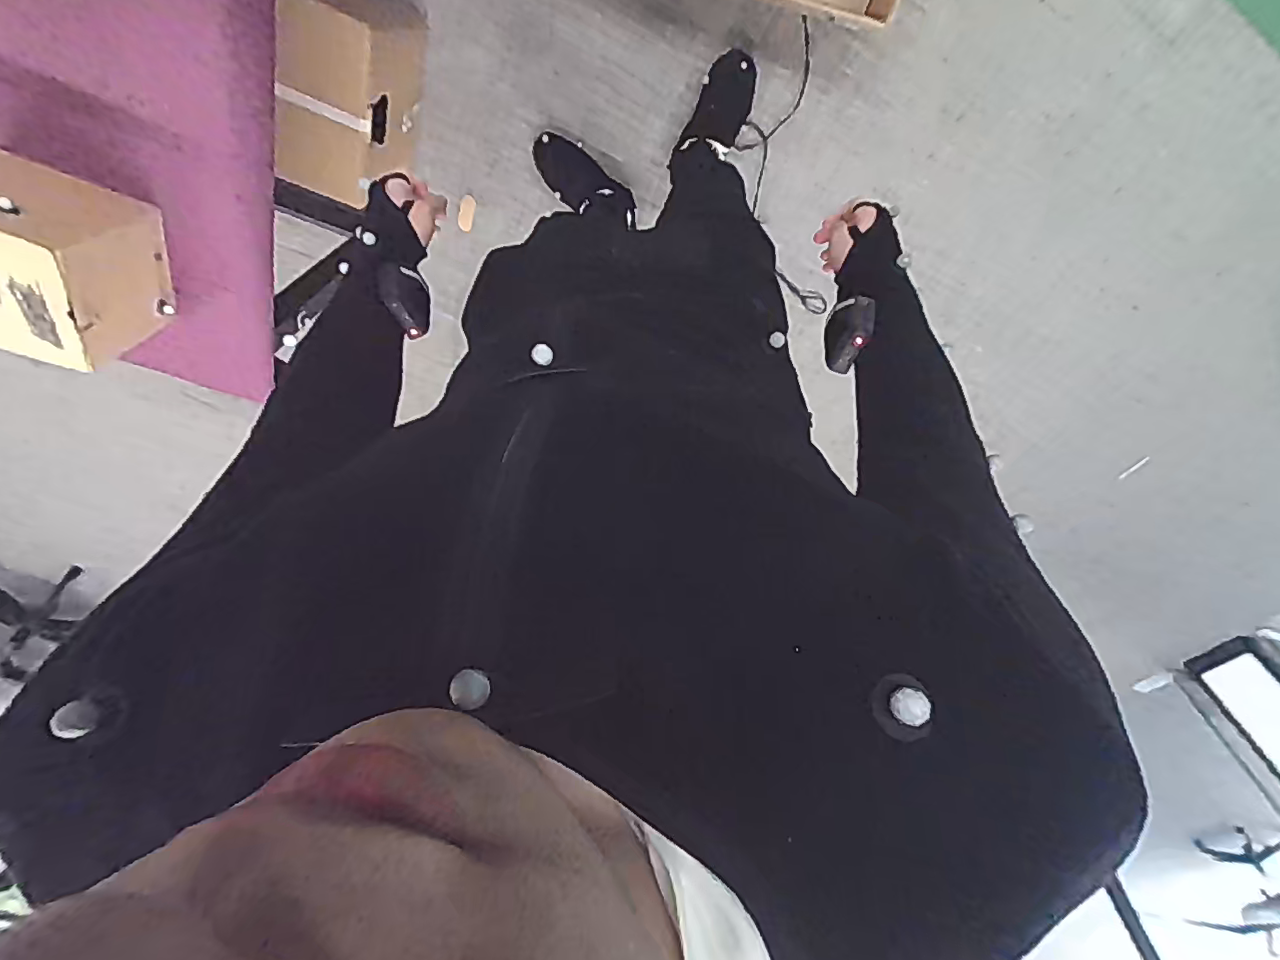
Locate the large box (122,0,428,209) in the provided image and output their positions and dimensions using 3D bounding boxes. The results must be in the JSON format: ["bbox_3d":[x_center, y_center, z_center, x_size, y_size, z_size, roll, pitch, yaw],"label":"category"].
[{"bbox_3d":[-0.684,-0.807,1.077,0.408,0.320,0.320,18,128,-12],"label":"large box"}]

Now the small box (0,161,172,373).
[{"bbox_3d":[-0.727,-0.266,0.668,0.179,0.176,0.168,19,128,-13],"label":"small box"}]
